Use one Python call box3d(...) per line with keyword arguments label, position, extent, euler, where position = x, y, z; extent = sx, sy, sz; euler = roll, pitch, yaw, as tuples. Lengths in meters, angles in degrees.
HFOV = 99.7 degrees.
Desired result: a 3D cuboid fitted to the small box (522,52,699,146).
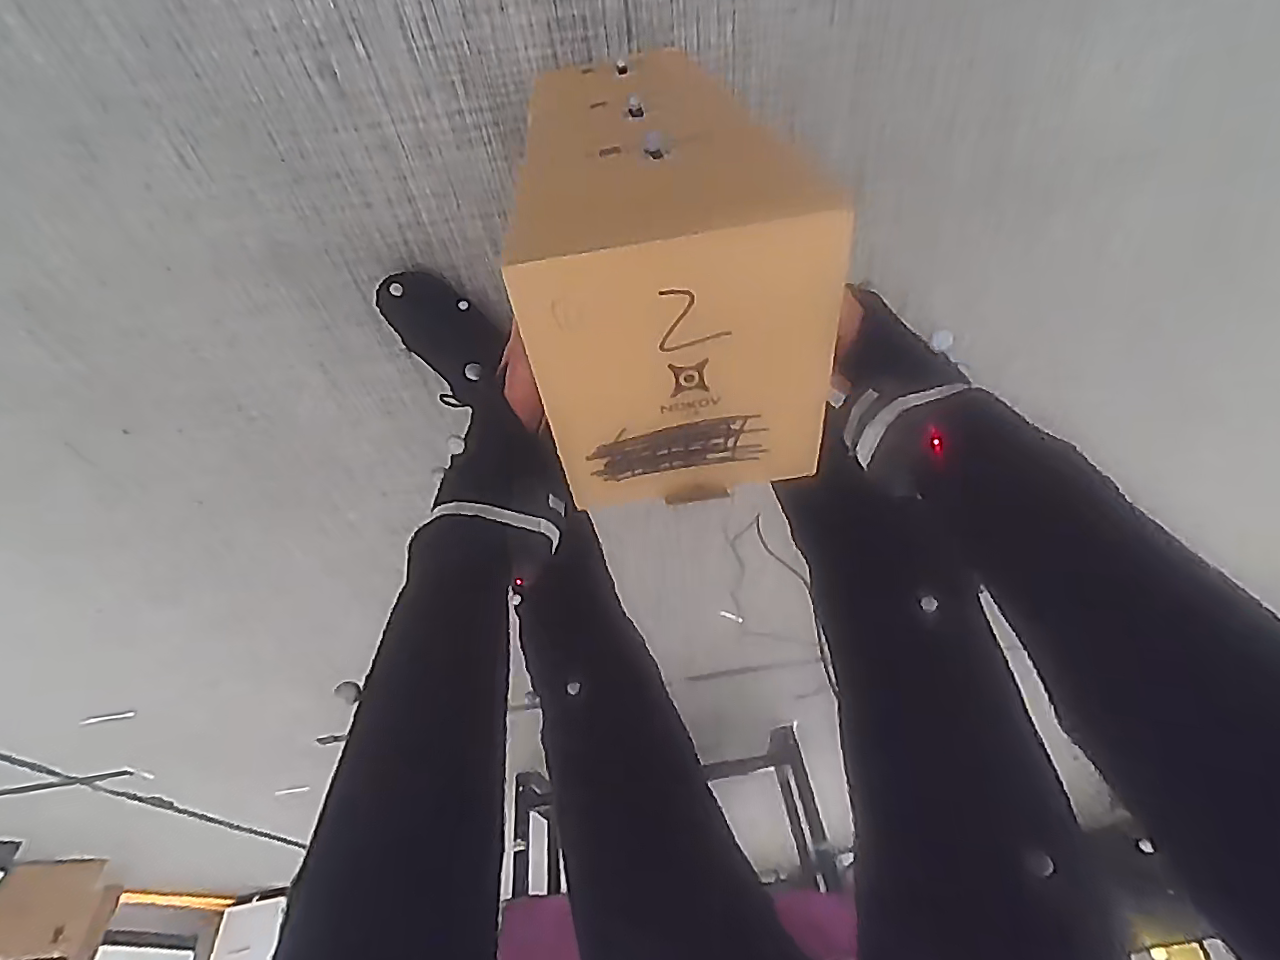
box3d(label="small box", position=(-0.022, -0.337, 0.596), extent=(0.168, 0.176, 0.179), euler=(-11, 136, 2))
